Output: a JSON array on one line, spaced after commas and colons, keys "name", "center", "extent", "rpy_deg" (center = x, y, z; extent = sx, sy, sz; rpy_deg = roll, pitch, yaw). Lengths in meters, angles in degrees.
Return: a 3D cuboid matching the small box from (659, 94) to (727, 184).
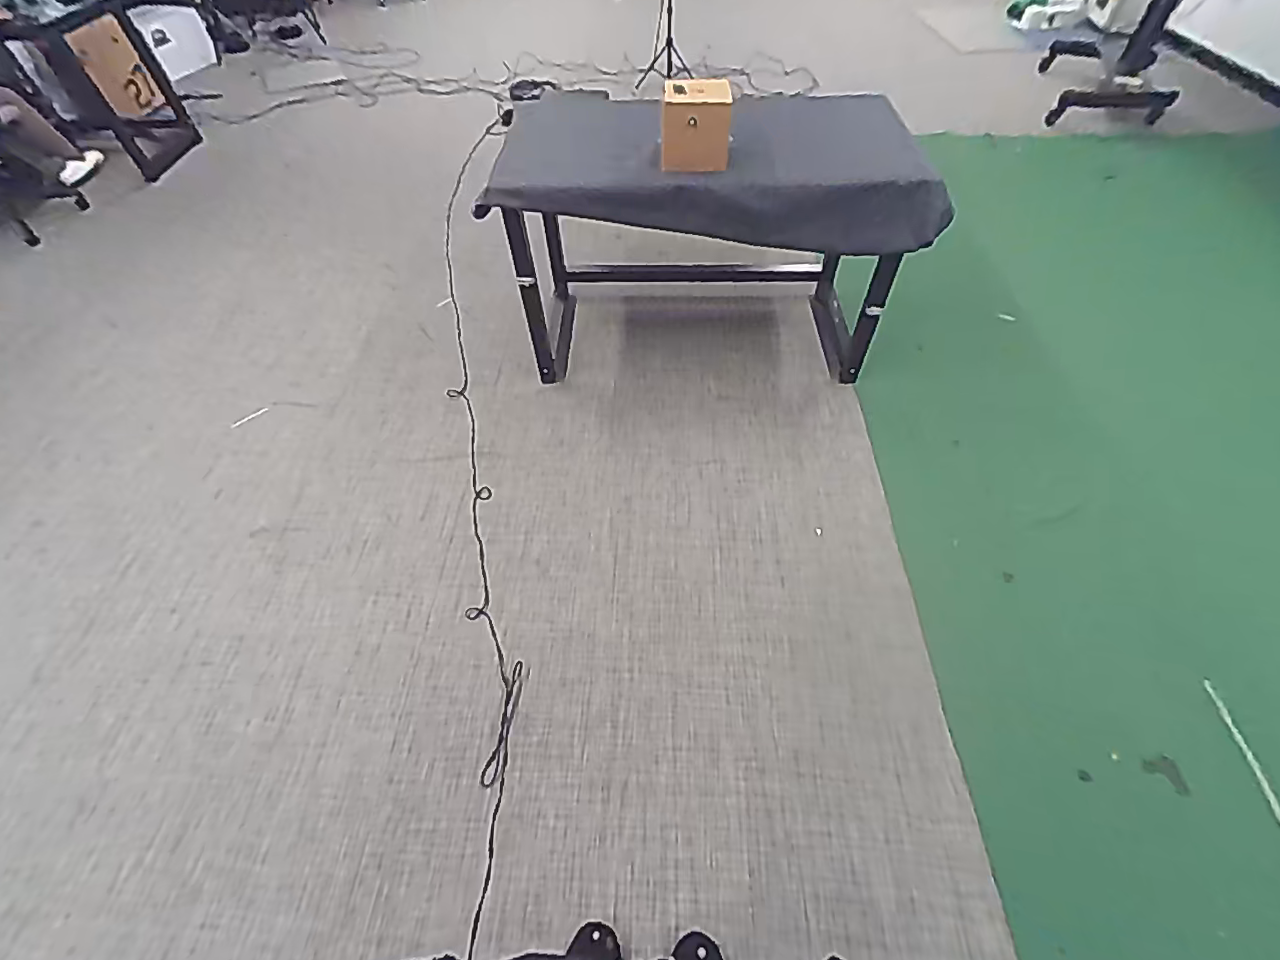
[{"name": "small box", "center": [0.142, -0.938, 1.492], "extent": [0.179, 0.176, 0.168], "rpy_deg": [1, 53, 2]}]
